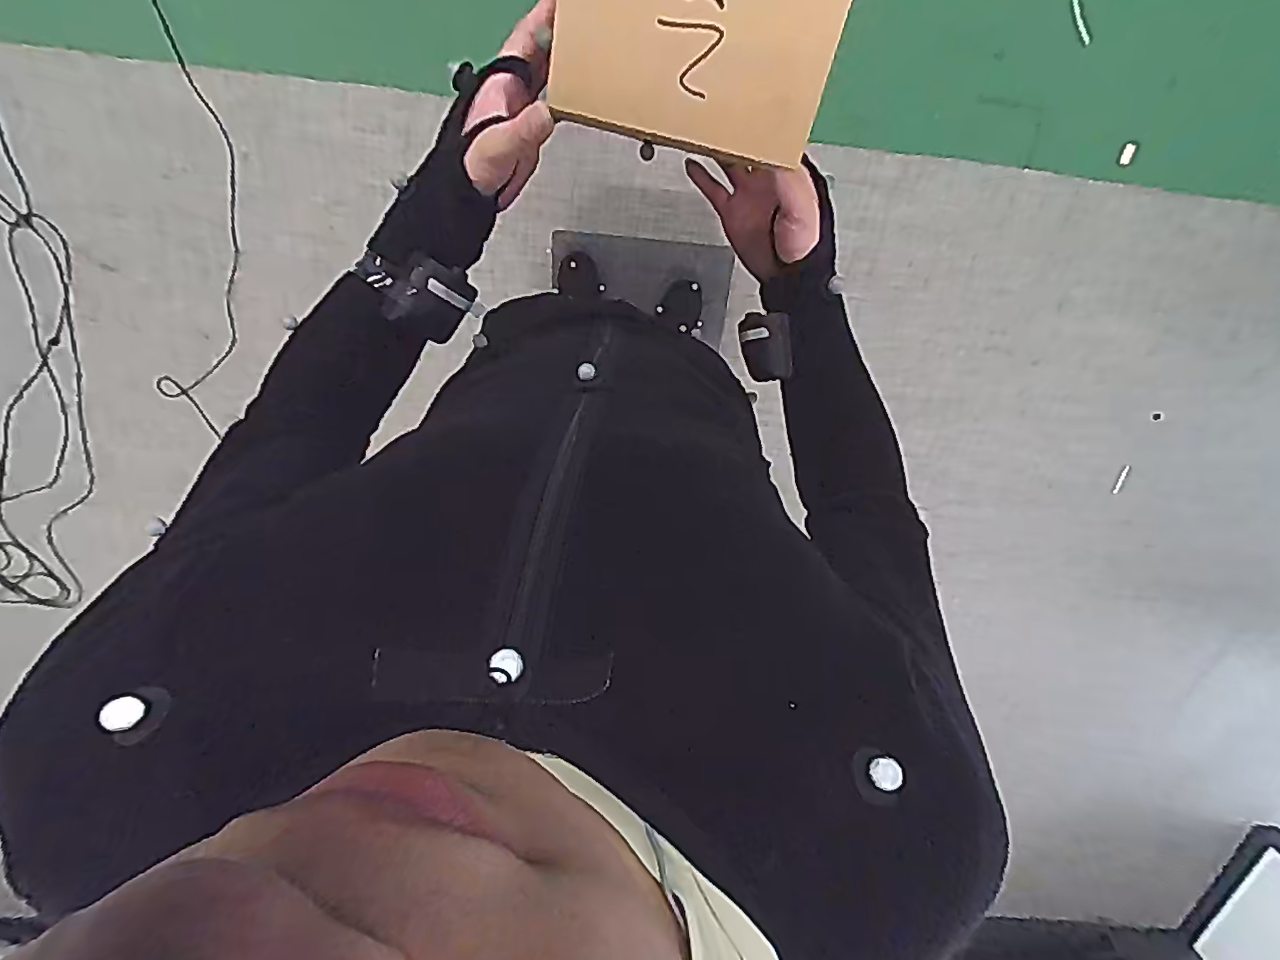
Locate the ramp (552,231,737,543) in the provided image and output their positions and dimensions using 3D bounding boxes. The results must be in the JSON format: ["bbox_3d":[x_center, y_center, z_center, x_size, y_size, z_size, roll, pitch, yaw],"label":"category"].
[{"bbox_3d":[-0.024,-0.210,1.670,0.509,0.206,0.991,2,112,-3],"label":"ramp"}]
